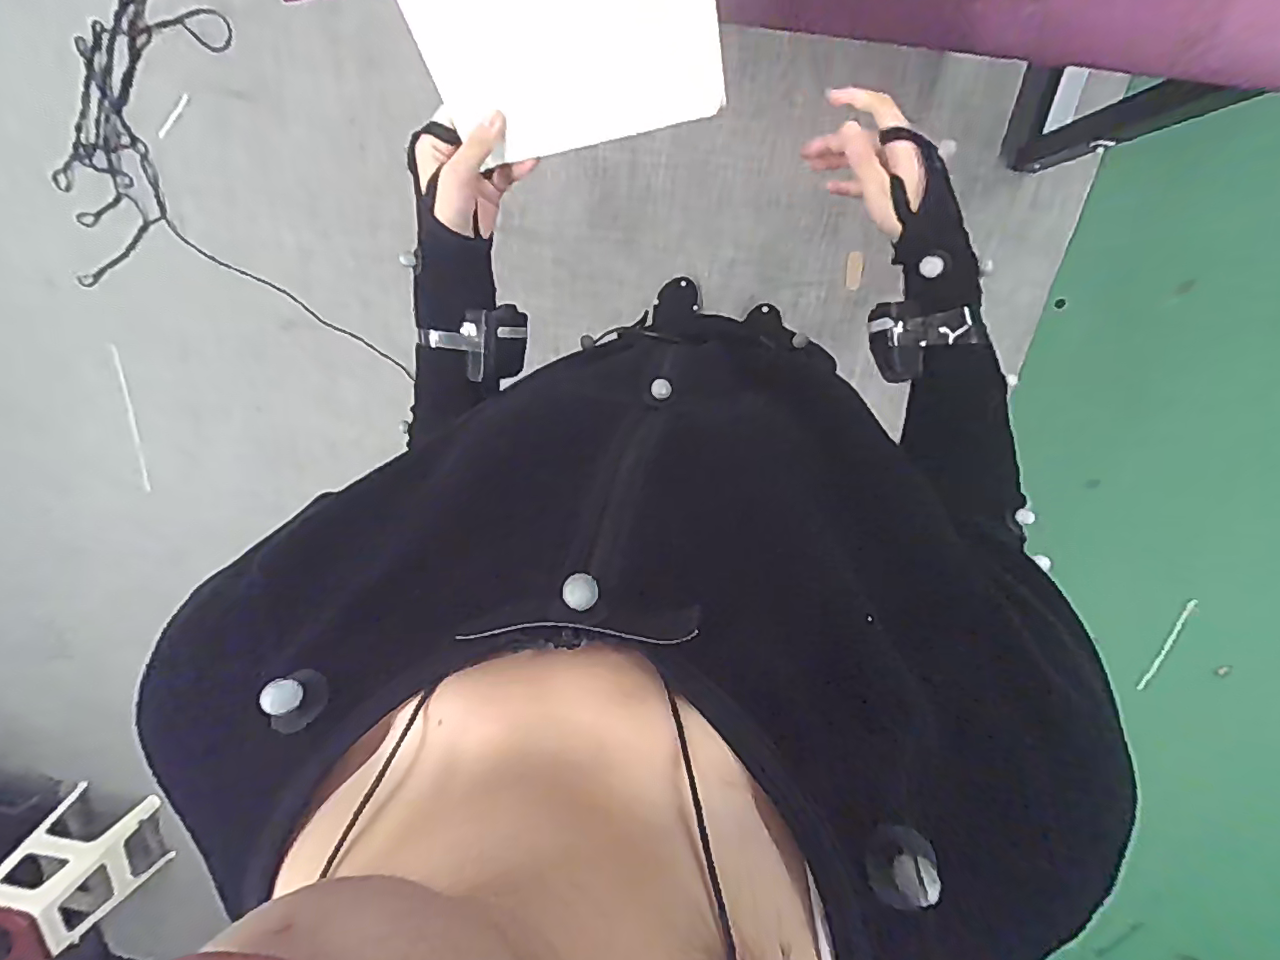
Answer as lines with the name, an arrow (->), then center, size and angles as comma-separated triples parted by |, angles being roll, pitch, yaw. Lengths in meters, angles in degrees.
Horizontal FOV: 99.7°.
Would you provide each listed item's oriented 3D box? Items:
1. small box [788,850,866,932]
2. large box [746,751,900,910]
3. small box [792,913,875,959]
small box -> 0.508, 1.163, 1.492 | 0.168, 0.176, 0.179 | 2, 109, 7
large box -> 0.564, 1.108, 1.728 | 0.408, 0.320, 0.320 | -4, 110, 7
small box -> 0.485, 1.223, 1.343 | 0.179, 0.176, 0.168 | 3, 109, 7
